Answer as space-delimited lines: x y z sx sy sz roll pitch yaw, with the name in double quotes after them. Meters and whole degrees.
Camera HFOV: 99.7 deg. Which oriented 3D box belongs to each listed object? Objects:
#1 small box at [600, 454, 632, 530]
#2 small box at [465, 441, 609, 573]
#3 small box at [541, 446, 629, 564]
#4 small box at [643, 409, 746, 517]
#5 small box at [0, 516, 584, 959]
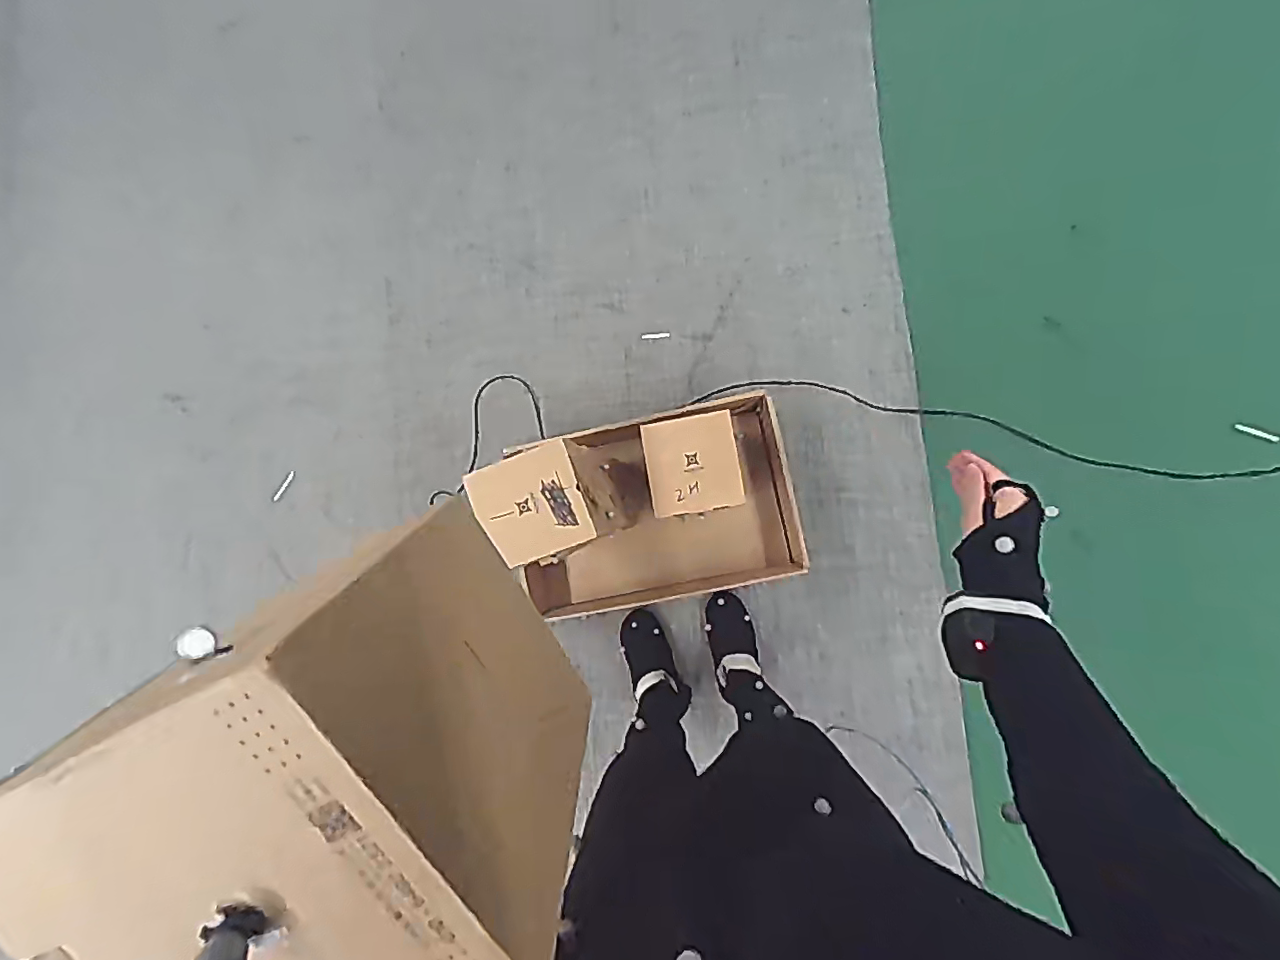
-0.125 0.044 1.240 0.179 0.176 0.168 -11 86 5 "small box"
-0.161 0.045 0.915 0.179 0.176 0.168 -21 85 5 "small box"
-0.132 0.049 1.077 0.179 0.176 0.168 -28 85 4 "small box"
0.105 -0.025 1.047 0.168 0.176 0.179 -10 86 8 "small box"
-0.146 0.141 0.279 0.176 0.179 0.168 -28 103 9 "small box"
